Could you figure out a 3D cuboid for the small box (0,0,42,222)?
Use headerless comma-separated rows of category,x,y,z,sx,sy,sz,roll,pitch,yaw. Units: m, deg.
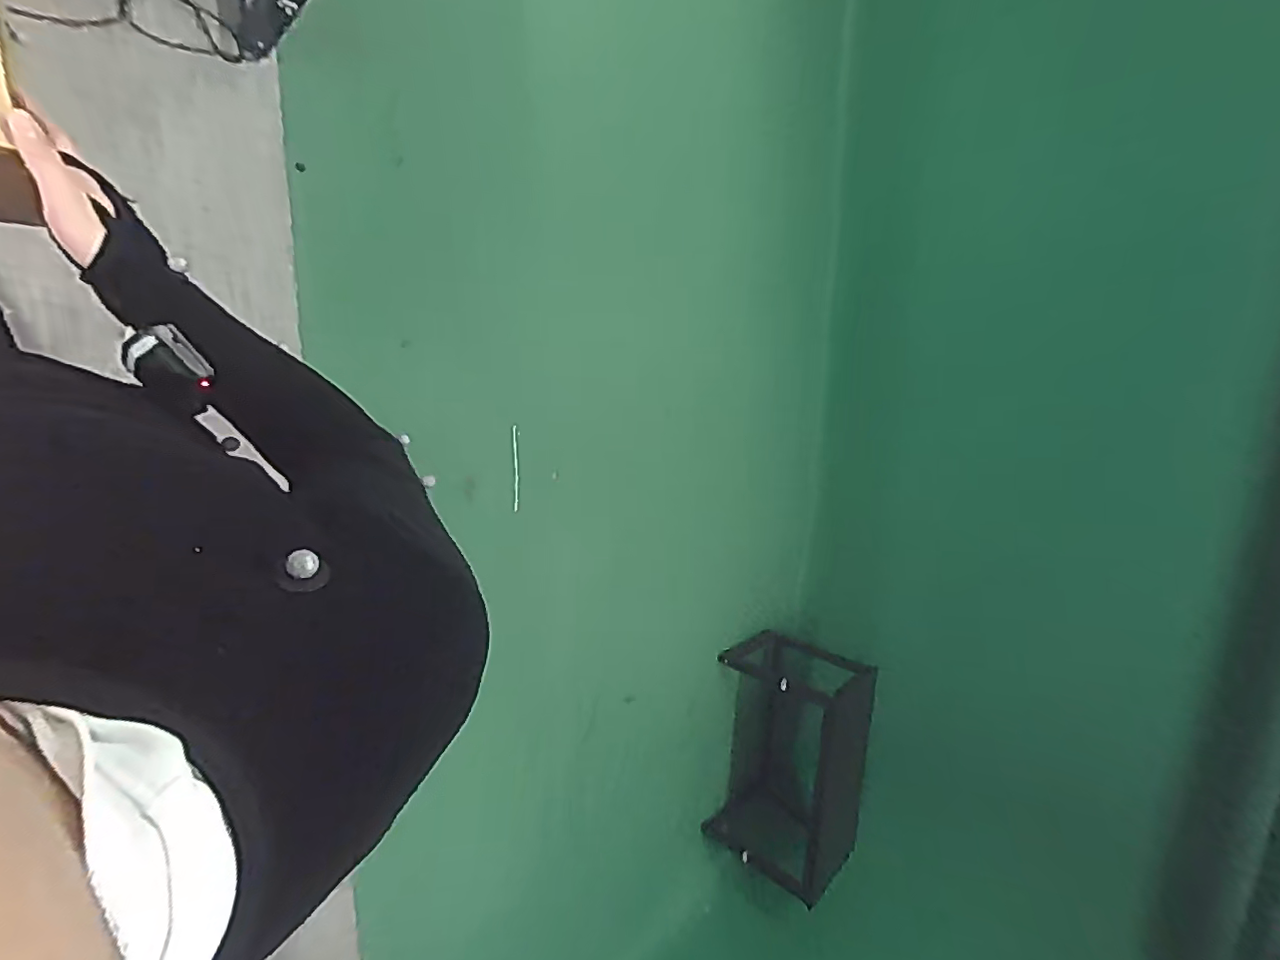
small box,-0.587,-0.323,0.402,0.168,0.176,0.179,-10,96,-42
